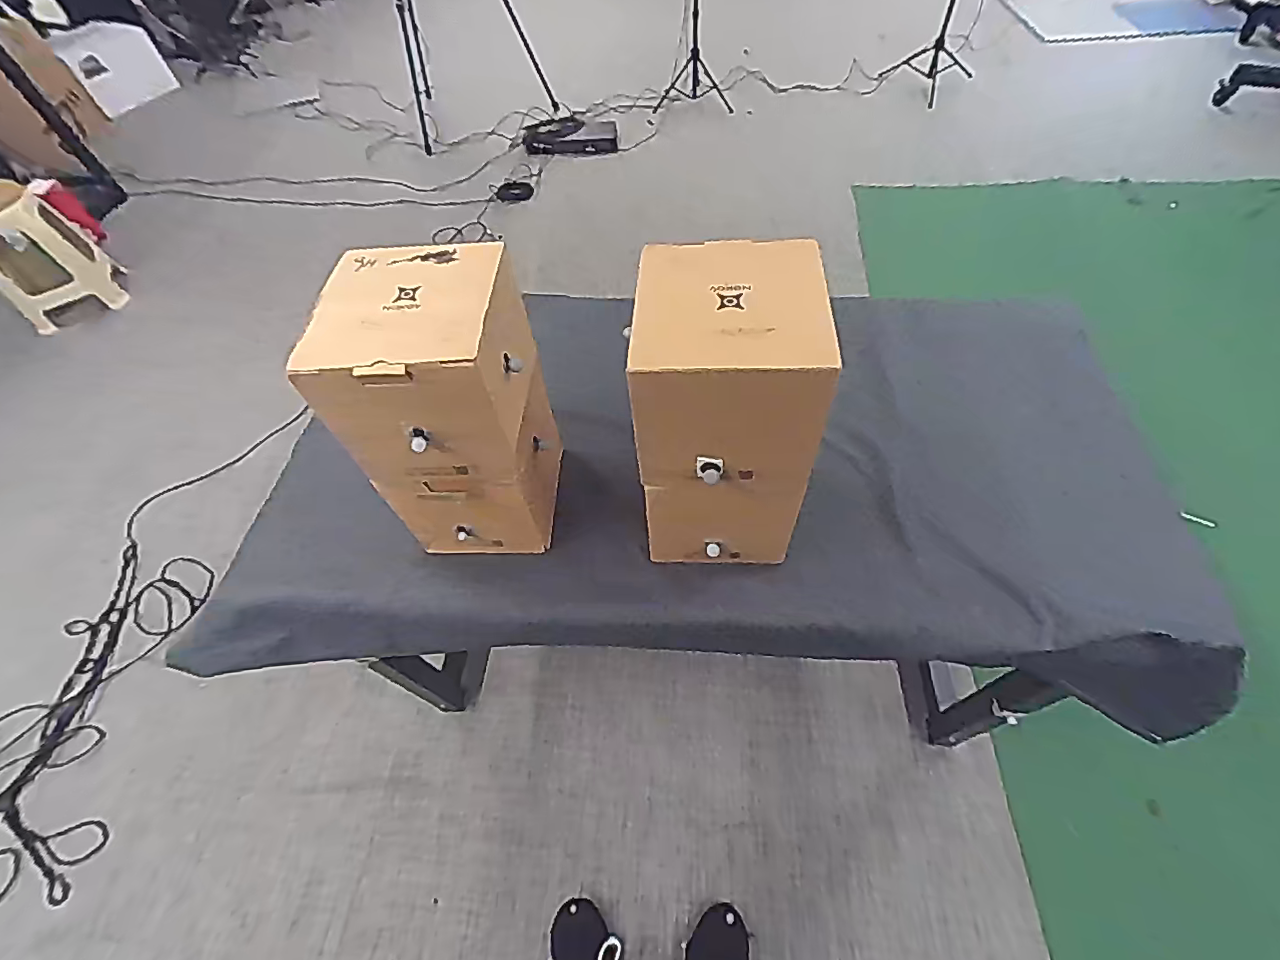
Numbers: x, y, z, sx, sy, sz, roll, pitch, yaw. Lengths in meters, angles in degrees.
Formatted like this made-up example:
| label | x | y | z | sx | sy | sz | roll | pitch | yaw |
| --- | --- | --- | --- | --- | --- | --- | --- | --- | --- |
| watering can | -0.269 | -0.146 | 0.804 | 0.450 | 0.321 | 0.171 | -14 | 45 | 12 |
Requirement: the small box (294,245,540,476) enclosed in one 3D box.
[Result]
| label | x | y | z | sx | sy | sz | roll | pitch | yaw |
| --- | --- | --- | --- | --- | --- | --- | --- | --- | --- |
| small box | -0.206 | -0.114 | 0.561 | 0.168 | 0.176 | 0.179 | -2 | 55 | 3 |

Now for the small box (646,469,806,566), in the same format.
| label | x | y | z | sx | sy | sz | roll | pitch | yaw |
| --- | --- | --- | --- | --- | --- | --- | --- | --- | --- |
| small box | 0.096 | -0.013 | 0.663 | 0.168 | 0.176 | 0.179 | 0 | 54 | 5 |

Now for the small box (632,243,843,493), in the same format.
| label | x | y | z | sx | sy | sz | roll | pitch | yaw |
| --- | --- | --- | --- | --- | --- | --- | --- | --- | --- |
| small box | 0.086 | -0.107 | 0.531 | 0.168 | 0.176 | 0.179 | 0 | 55 | 6 |

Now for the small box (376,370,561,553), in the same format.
| label | x | y | z | sx | sy | sz | roll | pitch | yaw |
| --- | --- | --- | --- | --- | --- | --- | --- | --- | --- |
| small box | -0.201 | -0.022 | 0.697 | 0.168 | 0.176 | 0.179 | -1 | 55 | 3 |
